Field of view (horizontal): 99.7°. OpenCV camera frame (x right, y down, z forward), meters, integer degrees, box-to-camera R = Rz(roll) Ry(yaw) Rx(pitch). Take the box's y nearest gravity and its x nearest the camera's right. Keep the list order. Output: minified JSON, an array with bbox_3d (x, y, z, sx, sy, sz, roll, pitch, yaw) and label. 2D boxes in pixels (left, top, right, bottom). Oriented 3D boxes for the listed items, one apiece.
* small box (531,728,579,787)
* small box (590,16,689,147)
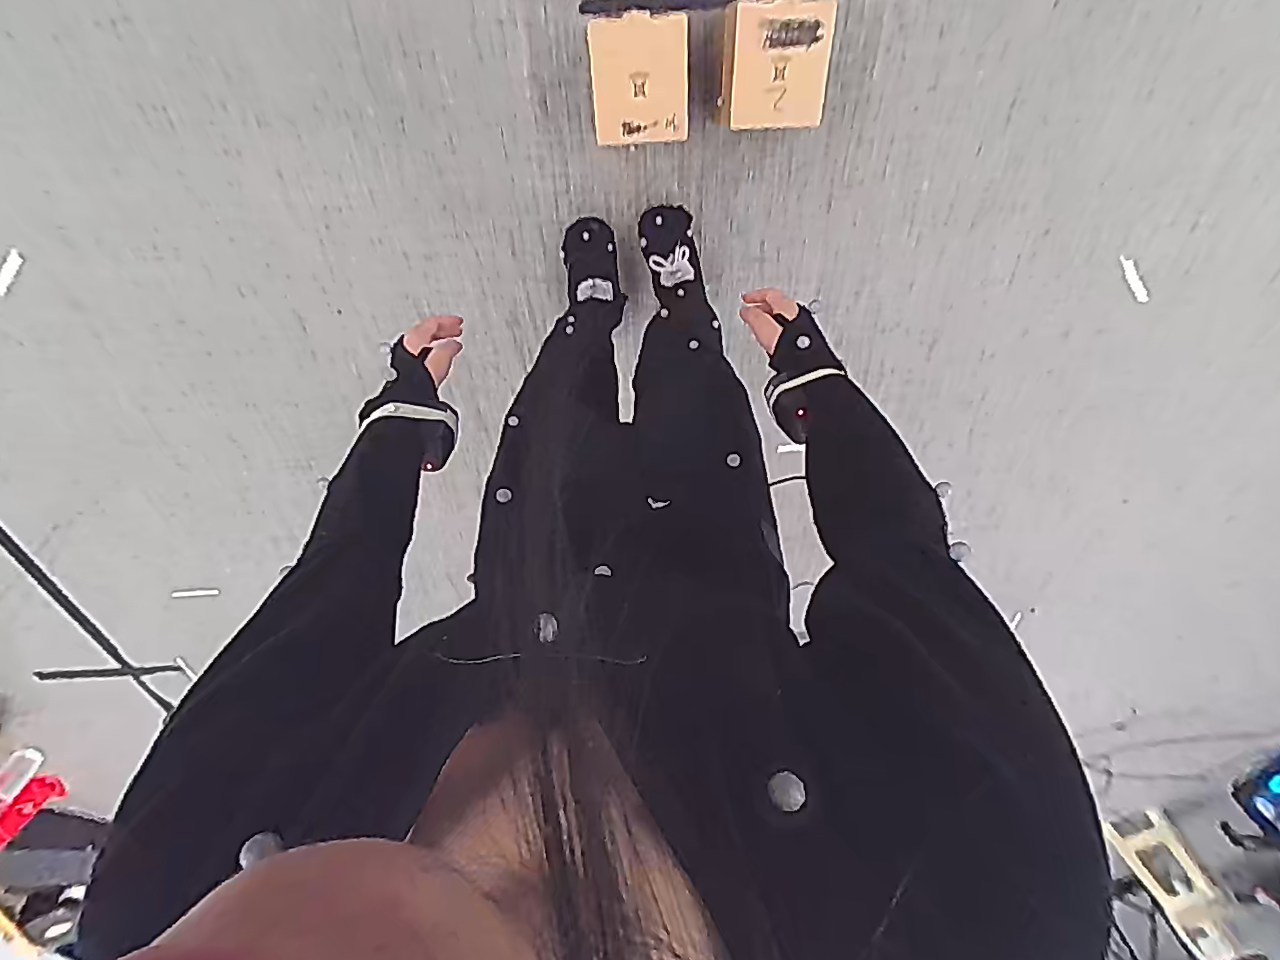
[{"bbox_3d":[-0.368,1.199,2.341,0.179,0.176,0.168,10,124,-13],"label":"small box"},{"bbox_3d":[-0.004,-0.719,0.986,0.168,0.176,0.179,-4,126,-1],"label":"small box"}]
